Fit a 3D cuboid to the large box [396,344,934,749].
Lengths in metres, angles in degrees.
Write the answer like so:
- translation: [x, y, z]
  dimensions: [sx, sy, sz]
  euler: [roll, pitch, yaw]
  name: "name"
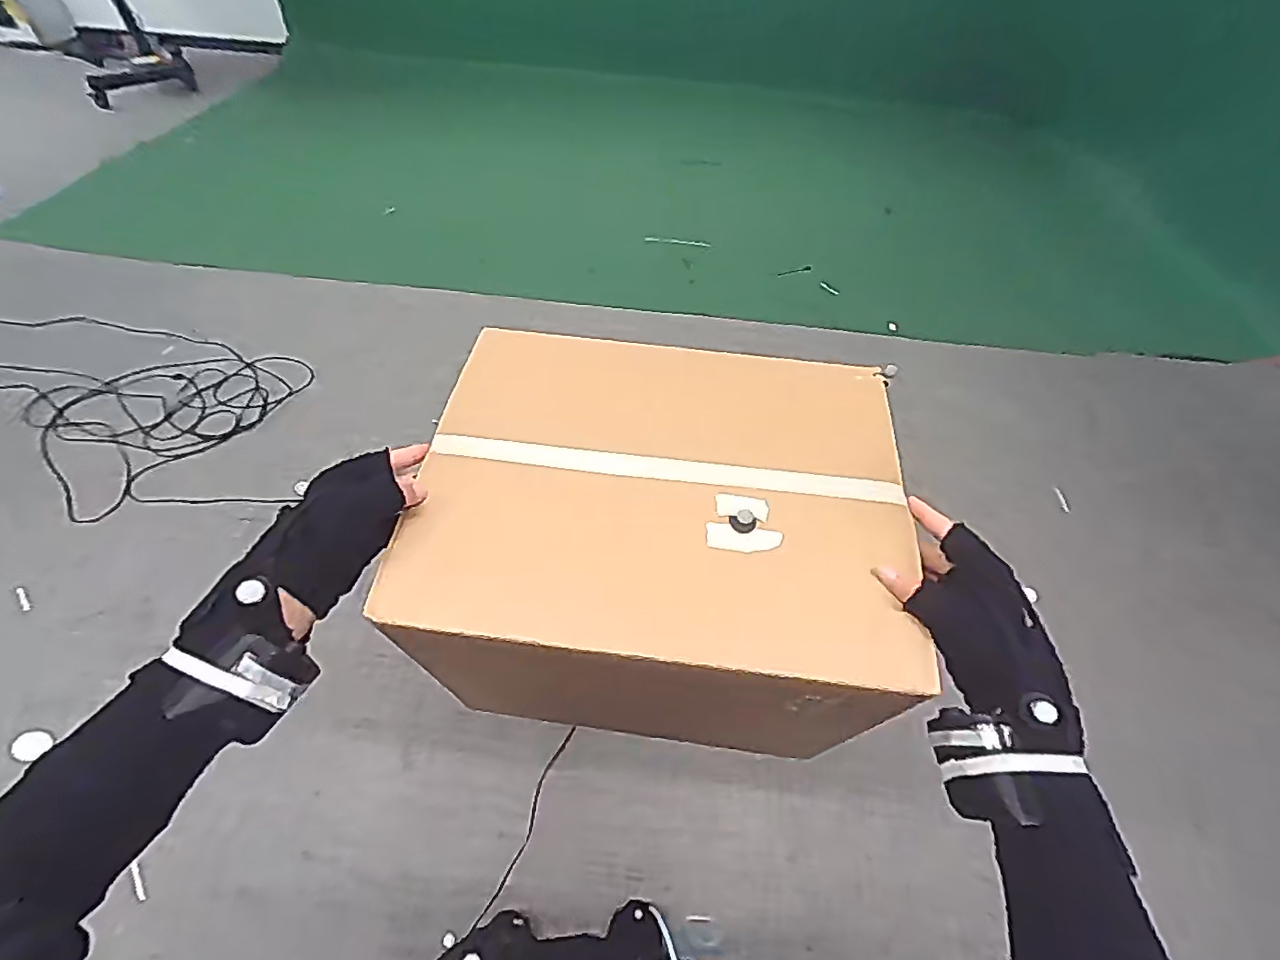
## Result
- translation: [0.023, 0.086, 0.597]
  dimensions: [0.408, 0.320, 0.320]
  euler: [7, 56, 2]
  name: "large box"
